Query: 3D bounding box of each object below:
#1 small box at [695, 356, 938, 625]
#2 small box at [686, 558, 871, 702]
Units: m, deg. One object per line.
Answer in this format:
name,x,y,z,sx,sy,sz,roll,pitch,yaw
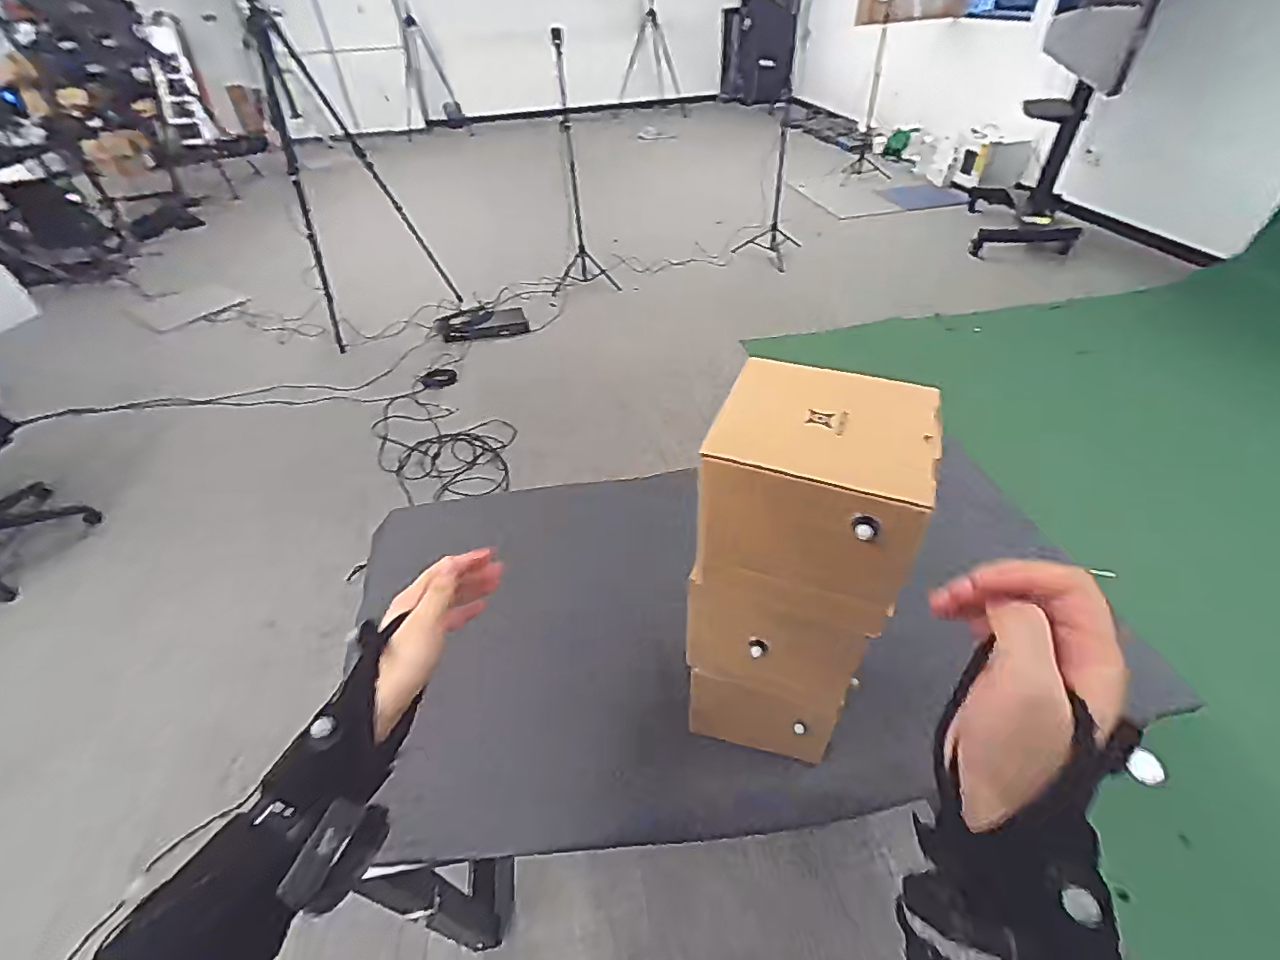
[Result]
small box,0.157,0.008,0.507,0.179,0.176,0.168,15,45,18
small box,0.161,0.126,0.619,0.179,0.176,0.168,14,45,19
